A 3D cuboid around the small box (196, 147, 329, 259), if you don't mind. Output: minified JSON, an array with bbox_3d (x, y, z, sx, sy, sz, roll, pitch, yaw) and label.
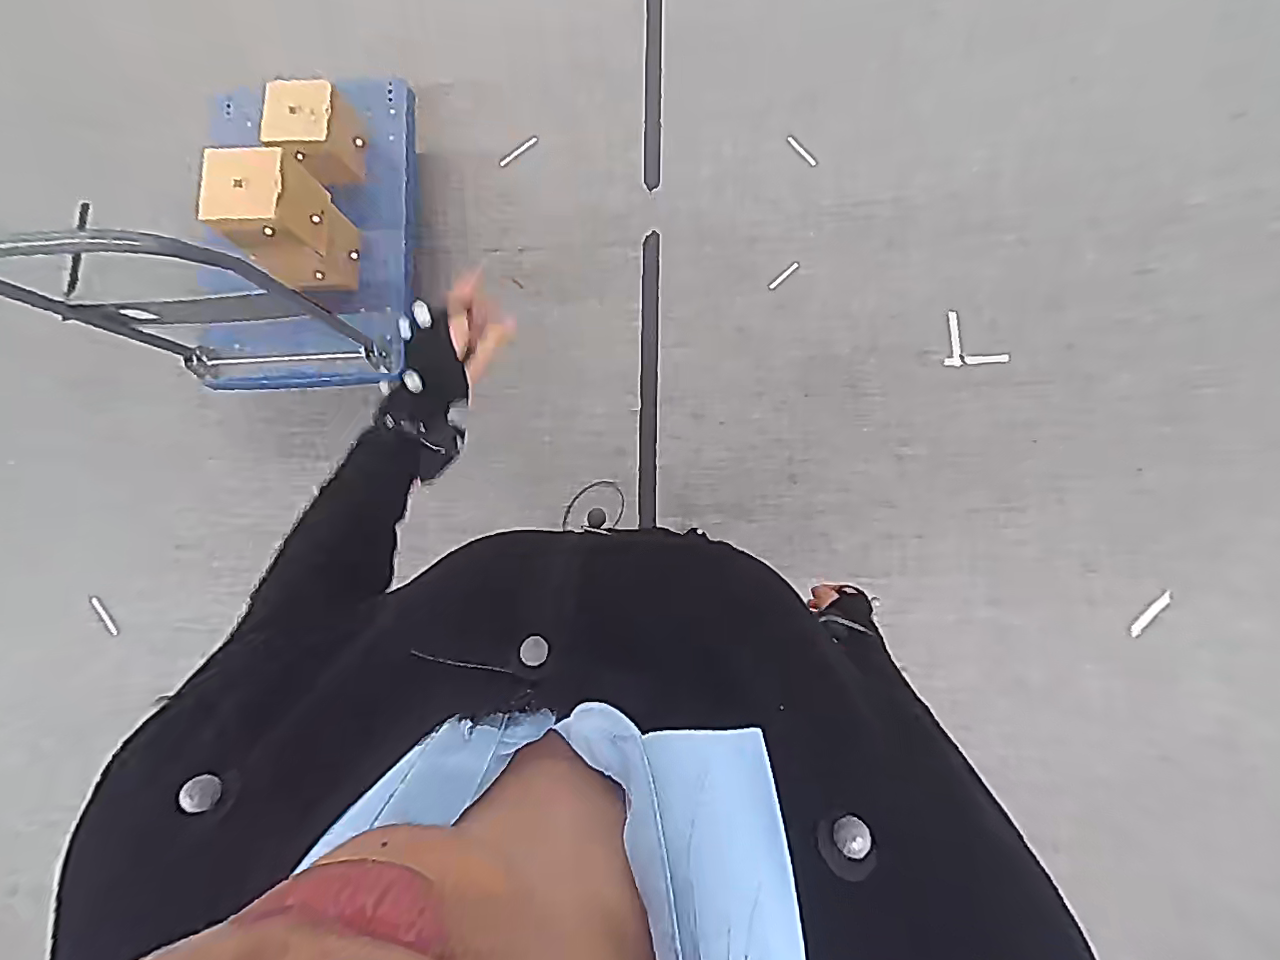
[{"bbox_3d":[-0.842,-0.615,1.219,0.179,0.176,0.168,0,83,2],"label":"small box"}]

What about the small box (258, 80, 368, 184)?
[{"bbox_3d":[-0.848,-0.902,1.415,0.179,0.176,0.168,2,84,4],"label":"small box"}]
